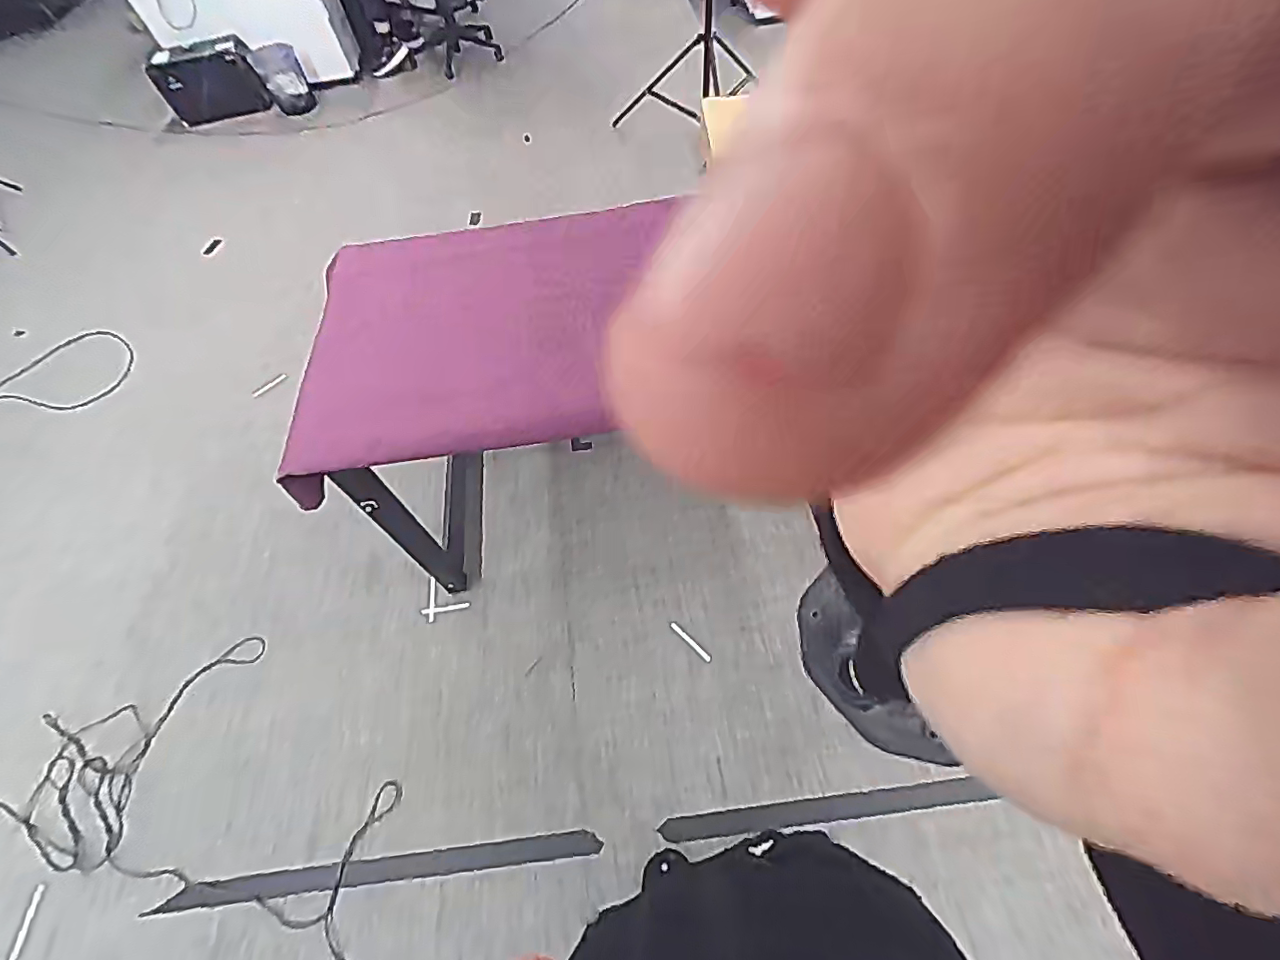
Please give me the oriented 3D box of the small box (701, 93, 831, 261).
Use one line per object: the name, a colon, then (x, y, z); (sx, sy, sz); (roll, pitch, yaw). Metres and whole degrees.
small box: (0.186, -0.476, 0.857); (0.168, 0.176, 0.179); (-5, 57, 3)
